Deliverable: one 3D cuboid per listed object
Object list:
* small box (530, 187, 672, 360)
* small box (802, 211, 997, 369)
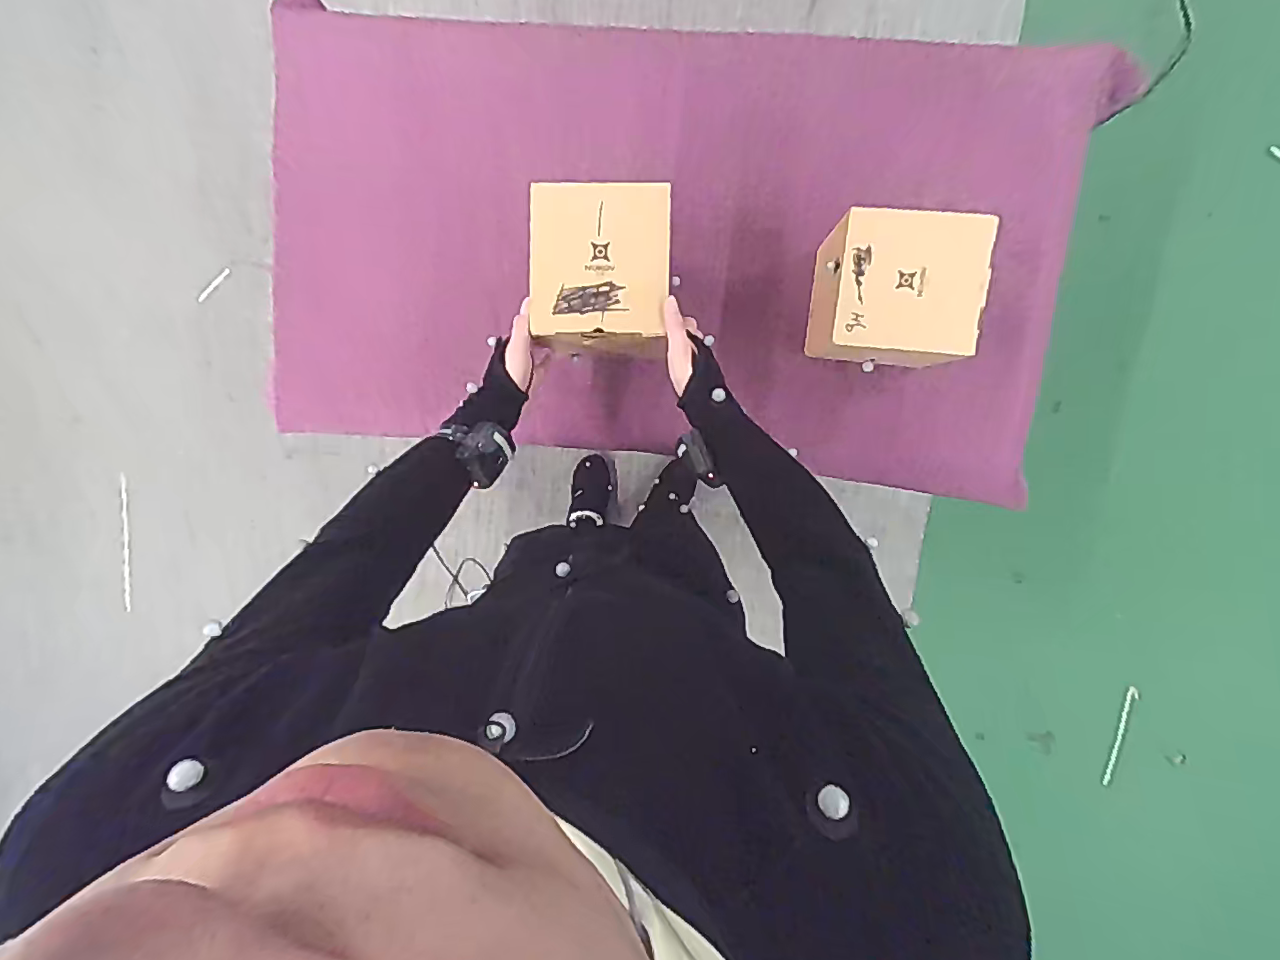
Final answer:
[{"bbox_3d":[-0.044,-0.254,0.704,0.168,0.176,0.179,1,94,1],"label":"small box"},{"bbox_3d":[0.338,-0.246,0.738,0.179,0.176,0.168,6,97,3],"label":"small box"}]
